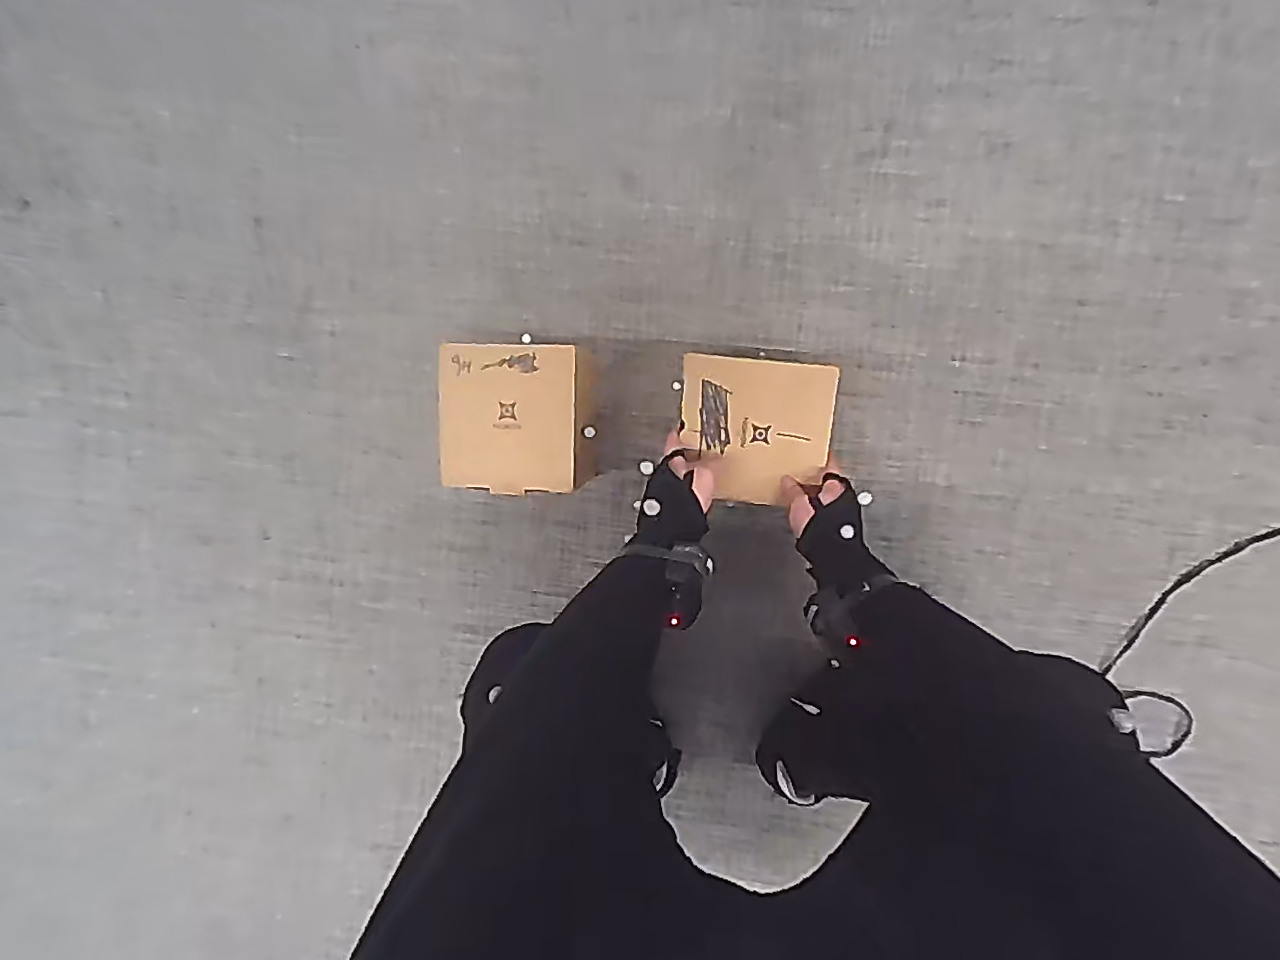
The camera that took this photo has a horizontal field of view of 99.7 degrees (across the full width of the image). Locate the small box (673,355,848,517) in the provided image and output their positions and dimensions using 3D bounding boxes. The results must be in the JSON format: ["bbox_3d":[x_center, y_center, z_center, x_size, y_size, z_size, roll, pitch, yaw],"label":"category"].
[{"bbox_3d":[0.146,-0.060,0.701,0.179,0.176,0.168,9,99,6],"label":"small box"}]
